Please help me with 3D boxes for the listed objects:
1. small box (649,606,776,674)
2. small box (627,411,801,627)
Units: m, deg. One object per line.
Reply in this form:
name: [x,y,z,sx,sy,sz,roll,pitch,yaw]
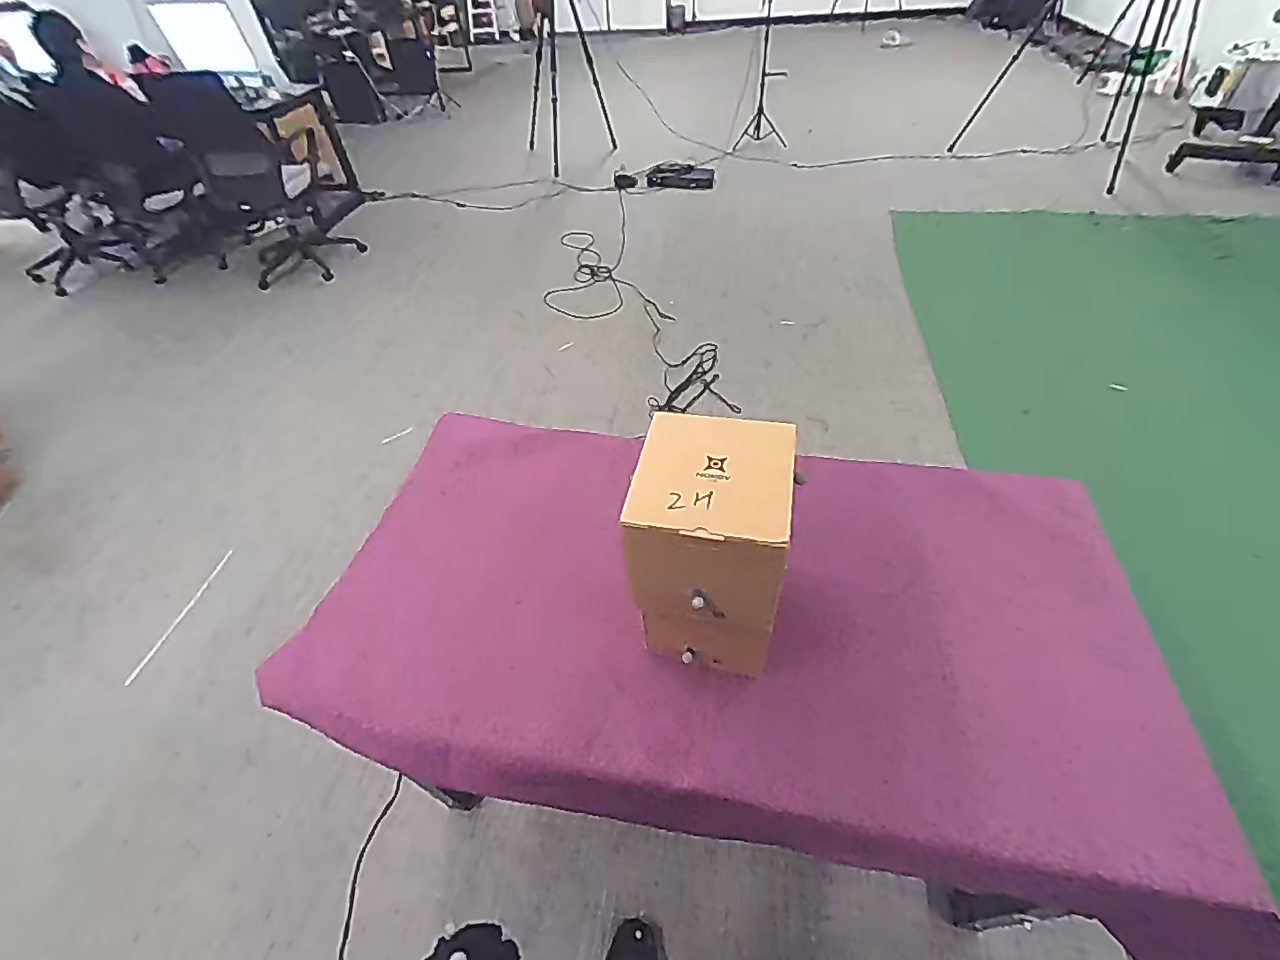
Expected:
small box: [0.109,0.145,0.764,0.168,0.176,0.179,8,49,14]
small box: [0.090,0.044,0.636,0.168,0.176,0.179,7,48,13]
